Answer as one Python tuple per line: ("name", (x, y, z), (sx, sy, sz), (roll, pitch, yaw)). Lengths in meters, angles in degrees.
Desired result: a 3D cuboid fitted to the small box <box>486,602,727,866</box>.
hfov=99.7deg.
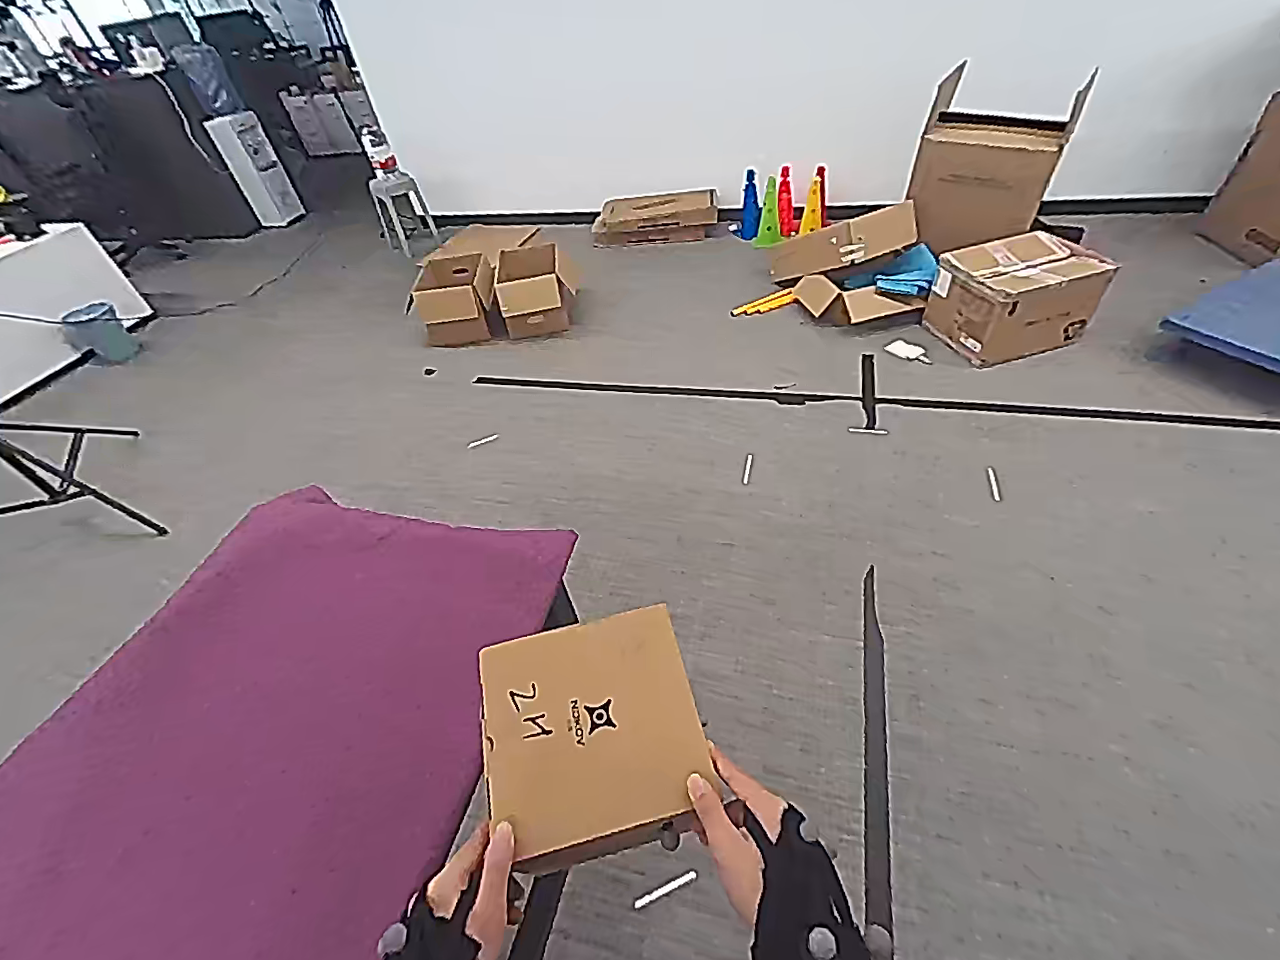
("small box", (-0.032, 0.240, 0.505), (0.179, 0.176, 0.168), (-13, 52, -5))
